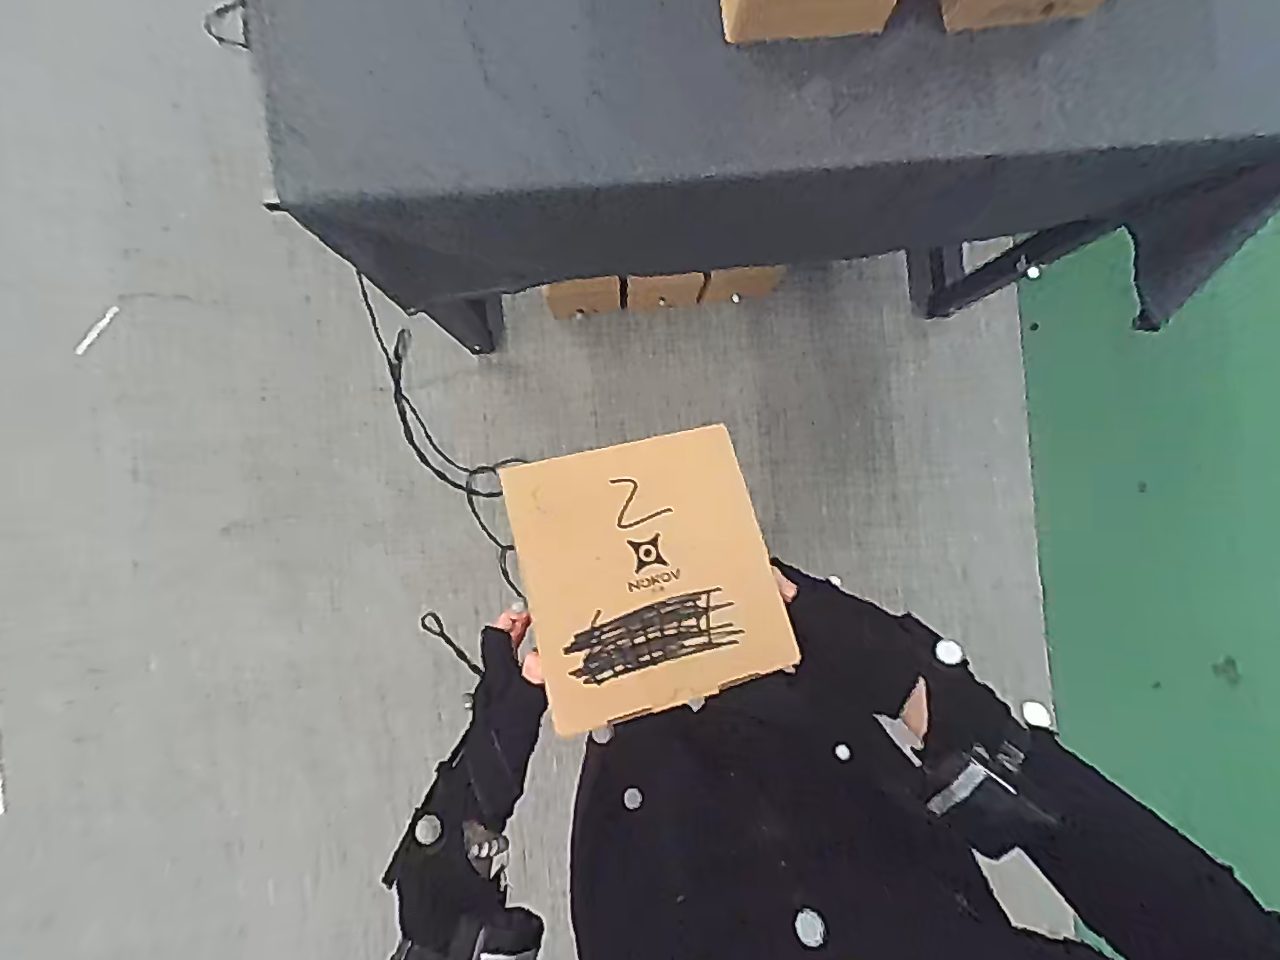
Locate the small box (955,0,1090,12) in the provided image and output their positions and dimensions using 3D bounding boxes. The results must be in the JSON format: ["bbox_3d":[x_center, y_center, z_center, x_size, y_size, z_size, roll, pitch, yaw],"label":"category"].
[{"bbox_3d":[0.413,-0.597,0.519,0.168,0.176,0.179,-7,90,-3],"label":"small box"}]
